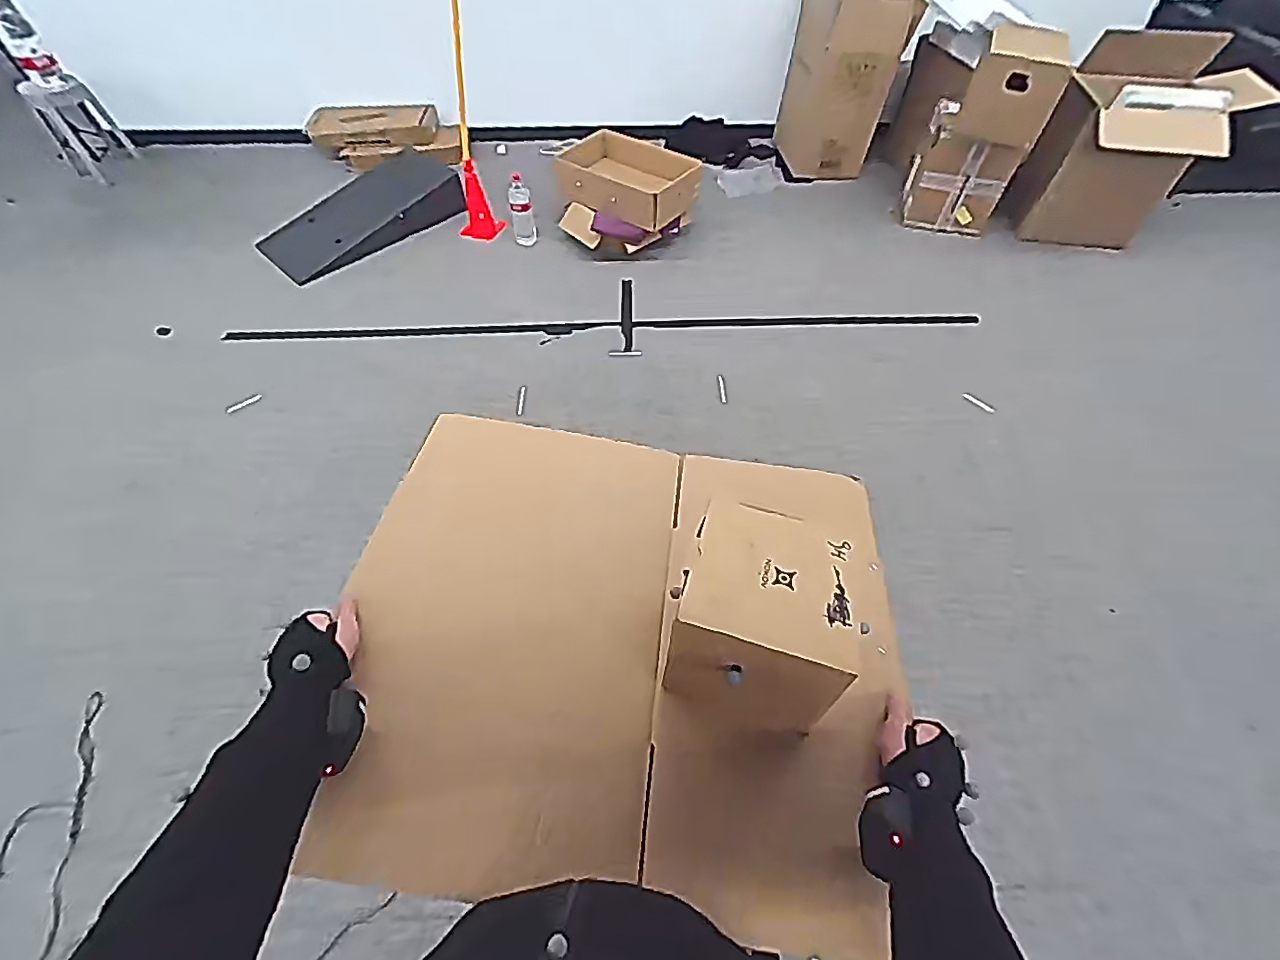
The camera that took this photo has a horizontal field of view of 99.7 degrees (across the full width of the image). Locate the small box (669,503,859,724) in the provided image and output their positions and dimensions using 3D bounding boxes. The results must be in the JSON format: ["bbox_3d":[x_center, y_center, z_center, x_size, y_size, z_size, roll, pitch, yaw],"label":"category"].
[{"bbox_3d":[0.136,0.156,0.623,0.179,0.176,0.168,13,49,10],"label":"small box"}]
